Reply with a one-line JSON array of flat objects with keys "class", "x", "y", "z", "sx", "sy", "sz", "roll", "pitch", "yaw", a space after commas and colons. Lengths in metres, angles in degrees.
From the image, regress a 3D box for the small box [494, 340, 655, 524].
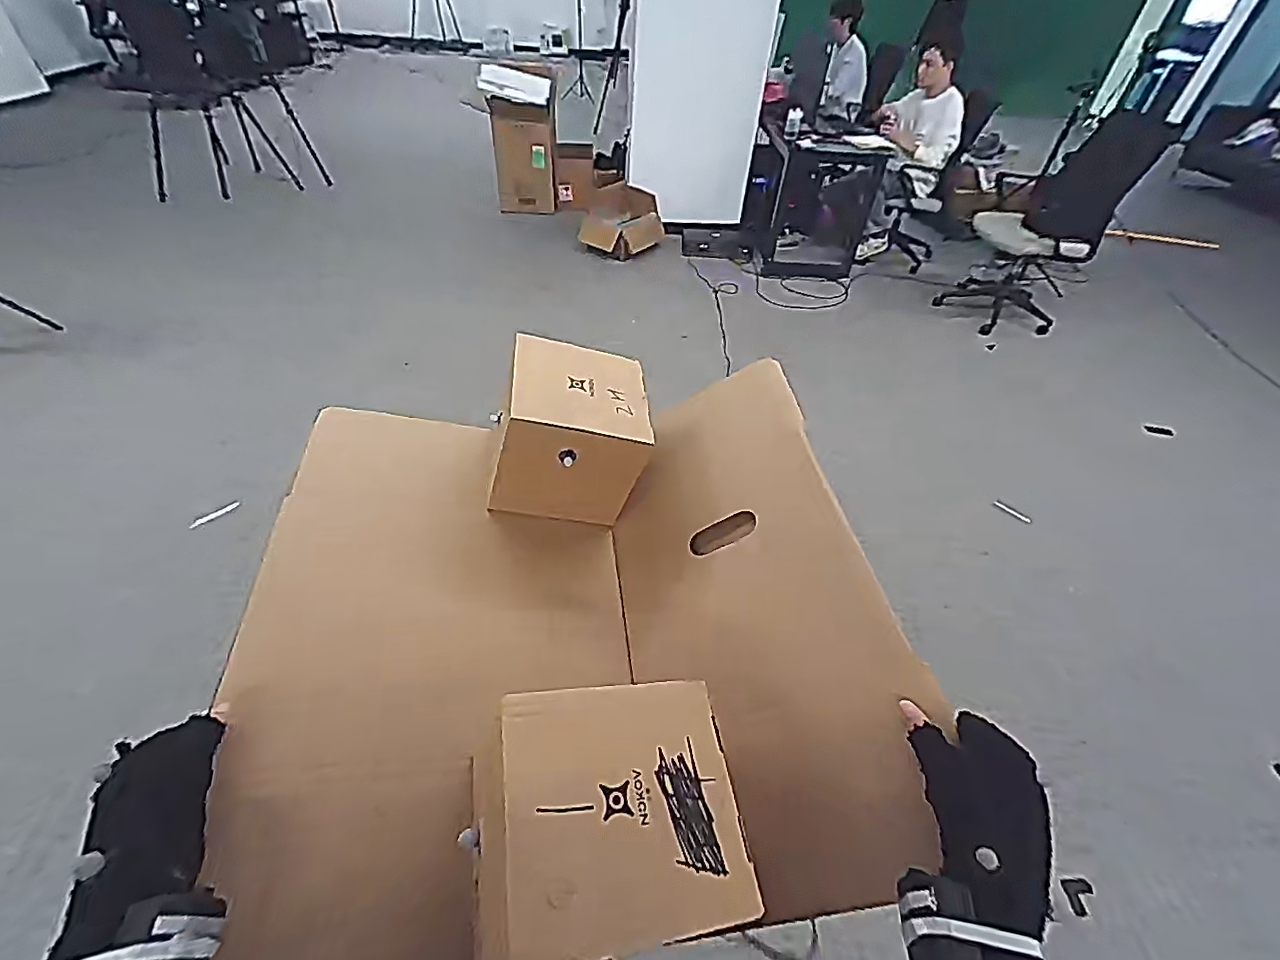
[{"class": "small box", "x": -0.096, "y": -0.058, "z": 0.735, "sx": 0.179, "sy": 0.176, "sz": 0.168, "roll": 11, "pitch": 46, "yaw": -18}]
